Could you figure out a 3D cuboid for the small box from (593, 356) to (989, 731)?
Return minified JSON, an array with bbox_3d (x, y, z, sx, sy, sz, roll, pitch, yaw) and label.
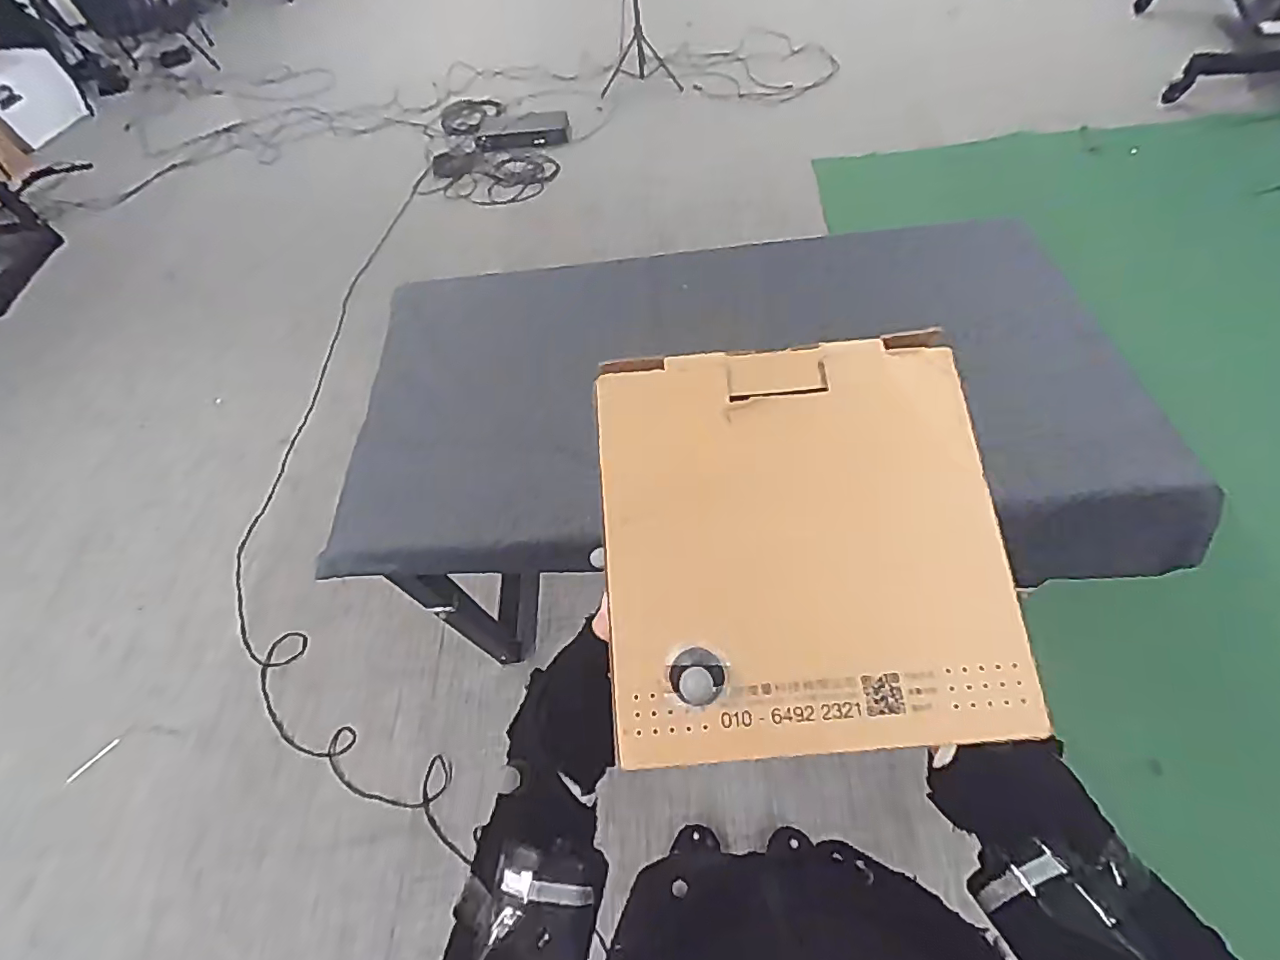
[{"bbox_3d":[0.068,0.049,0.325,0.168,0.179,0.176,-5,73,1],"label":"small box"}]
